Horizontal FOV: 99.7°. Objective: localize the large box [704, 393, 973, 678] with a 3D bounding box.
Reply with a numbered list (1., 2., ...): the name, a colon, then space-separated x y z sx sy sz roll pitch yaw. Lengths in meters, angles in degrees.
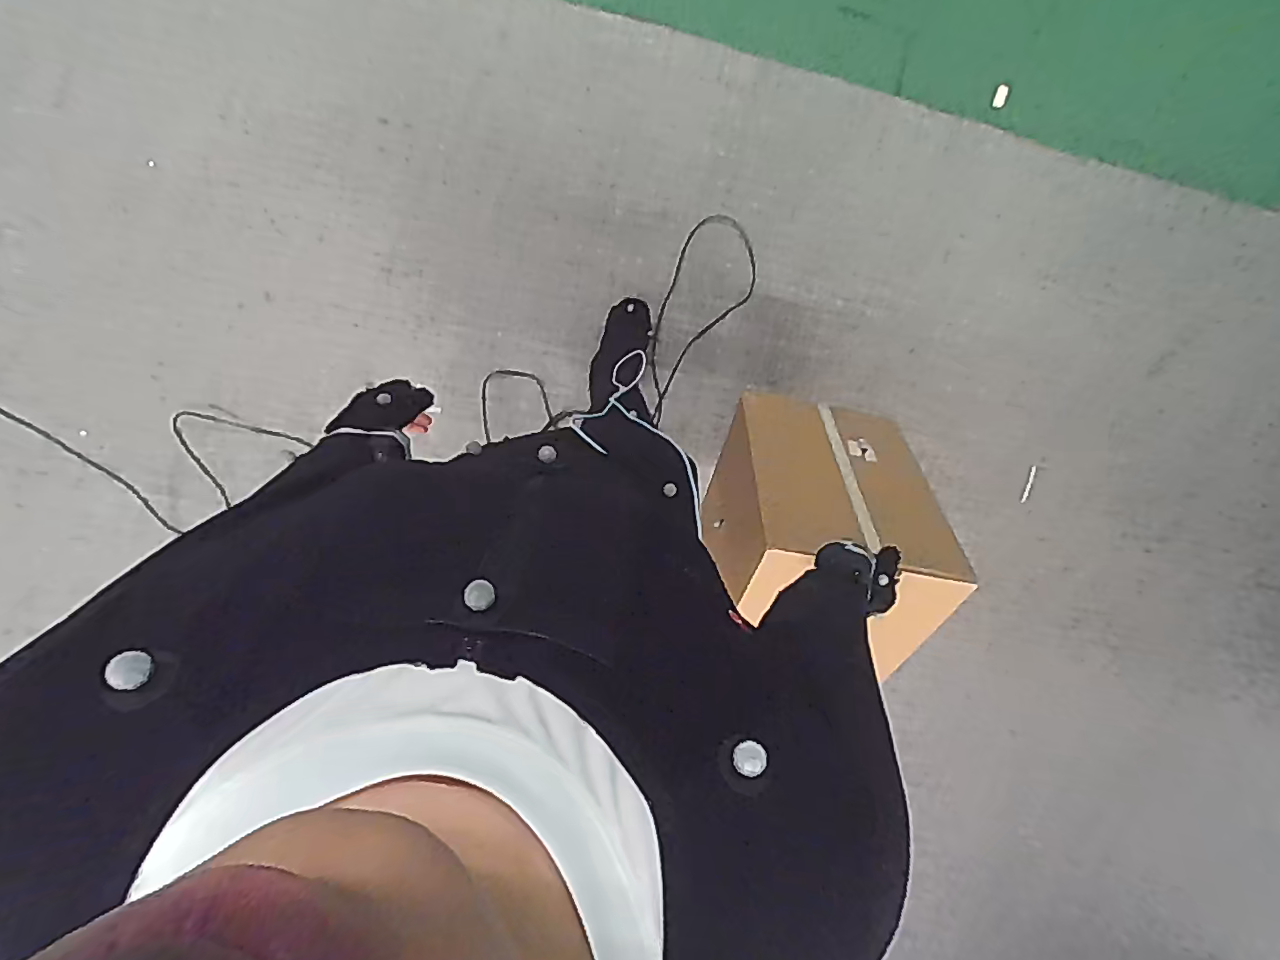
1. large box: 0.309 0.096 1.001 0.320 0.408 0.320 11 130 -5
